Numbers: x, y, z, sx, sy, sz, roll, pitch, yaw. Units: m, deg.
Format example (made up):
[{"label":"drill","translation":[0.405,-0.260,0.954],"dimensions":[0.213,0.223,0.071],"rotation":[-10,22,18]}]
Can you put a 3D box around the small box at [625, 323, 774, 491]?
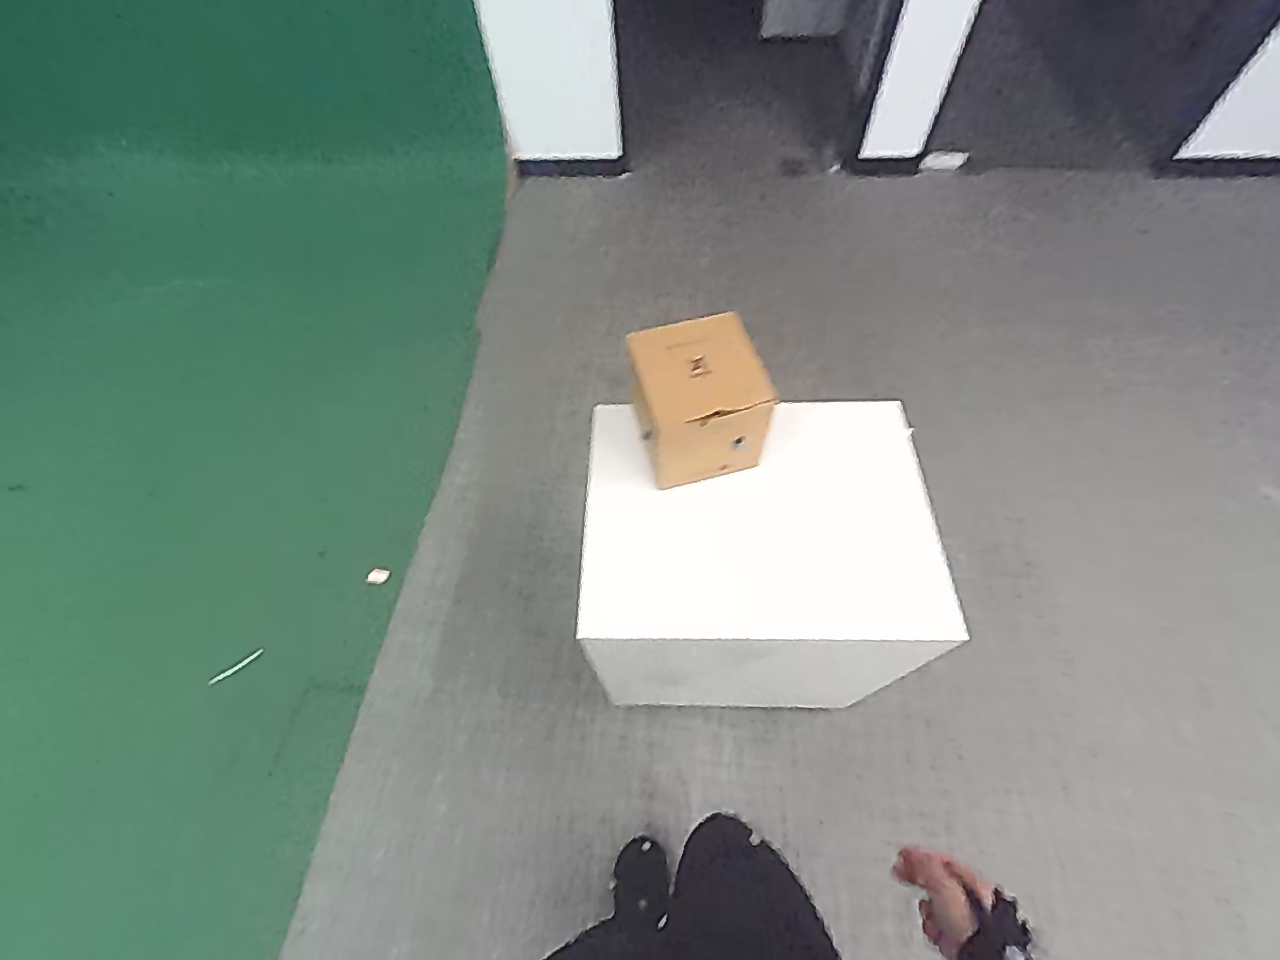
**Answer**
[{"label":"small box","translation":[0.080,-0.099,0.805],"dimensions":[0.168,0.176,0.179],"rotation":[-14,59,-7]}]
